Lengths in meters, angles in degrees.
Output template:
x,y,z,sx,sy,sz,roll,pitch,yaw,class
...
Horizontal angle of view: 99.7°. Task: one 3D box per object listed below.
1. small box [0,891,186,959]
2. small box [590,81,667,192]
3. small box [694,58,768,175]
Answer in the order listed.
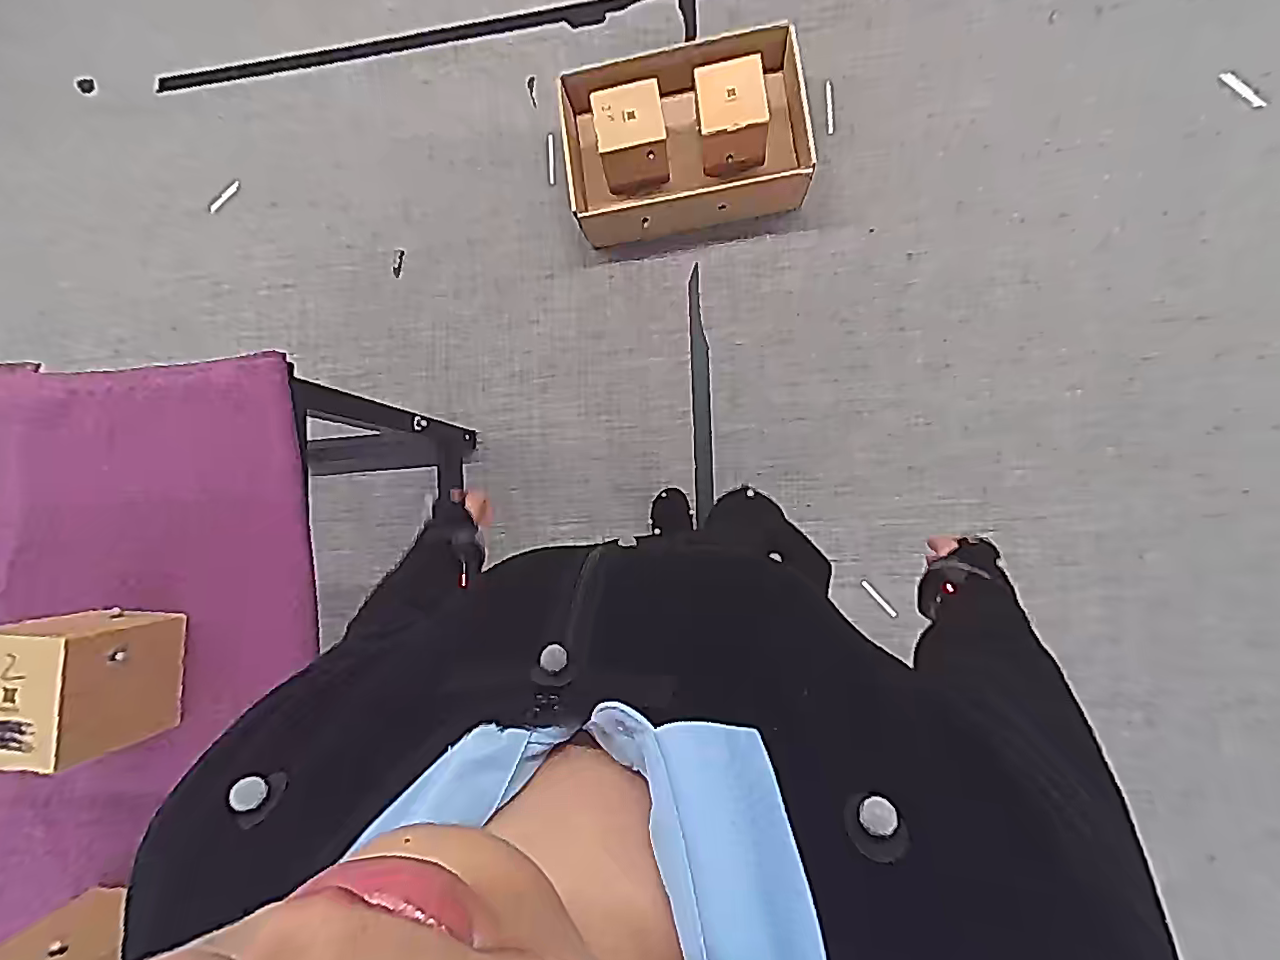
x,y,z,sx,sy,sz,roll,pitch,yaw,class
-0.786,0.718,0.758,0.179,0.176,0.168,-3,86,7,small box
-0.023,-0.901,1.434,0.179,0.176,0.168,-9,85,6,small box
0.233,-0.936,1.406,0.168,0.176,0.179,-8,86,8,small box
